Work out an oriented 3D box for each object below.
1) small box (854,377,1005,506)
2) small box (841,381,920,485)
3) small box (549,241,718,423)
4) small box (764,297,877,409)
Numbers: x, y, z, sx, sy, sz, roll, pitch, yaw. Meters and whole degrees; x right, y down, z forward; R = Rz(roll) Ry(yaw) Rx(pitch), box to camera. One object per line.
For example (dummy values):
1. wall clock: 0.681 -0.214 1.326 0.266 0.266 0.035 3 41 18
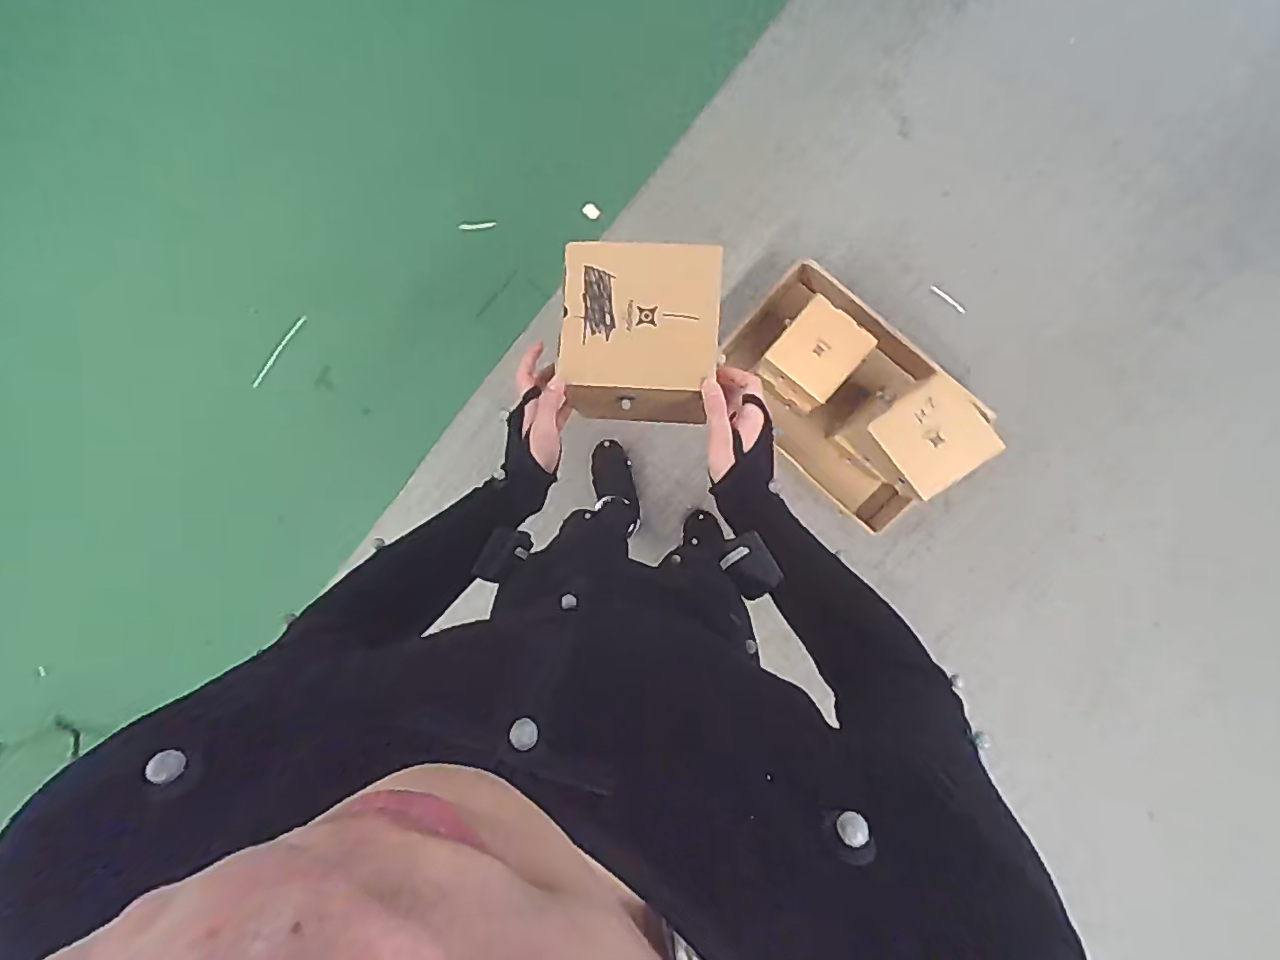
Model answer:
1. small box: 0.543 -0.073 1.040 0.168 0.176 0.179 -36 84 11
2. small box: 0.578 -0.094 1.201 0.168 0.176 0.179 -44 83 10
3. small box: -0.001 -0.169 0.662 0.179 0.176 0.168 3 84 4
4. small box: 0.402 -0.278 1.234 0.168 0.176 0.179 41 98 5
